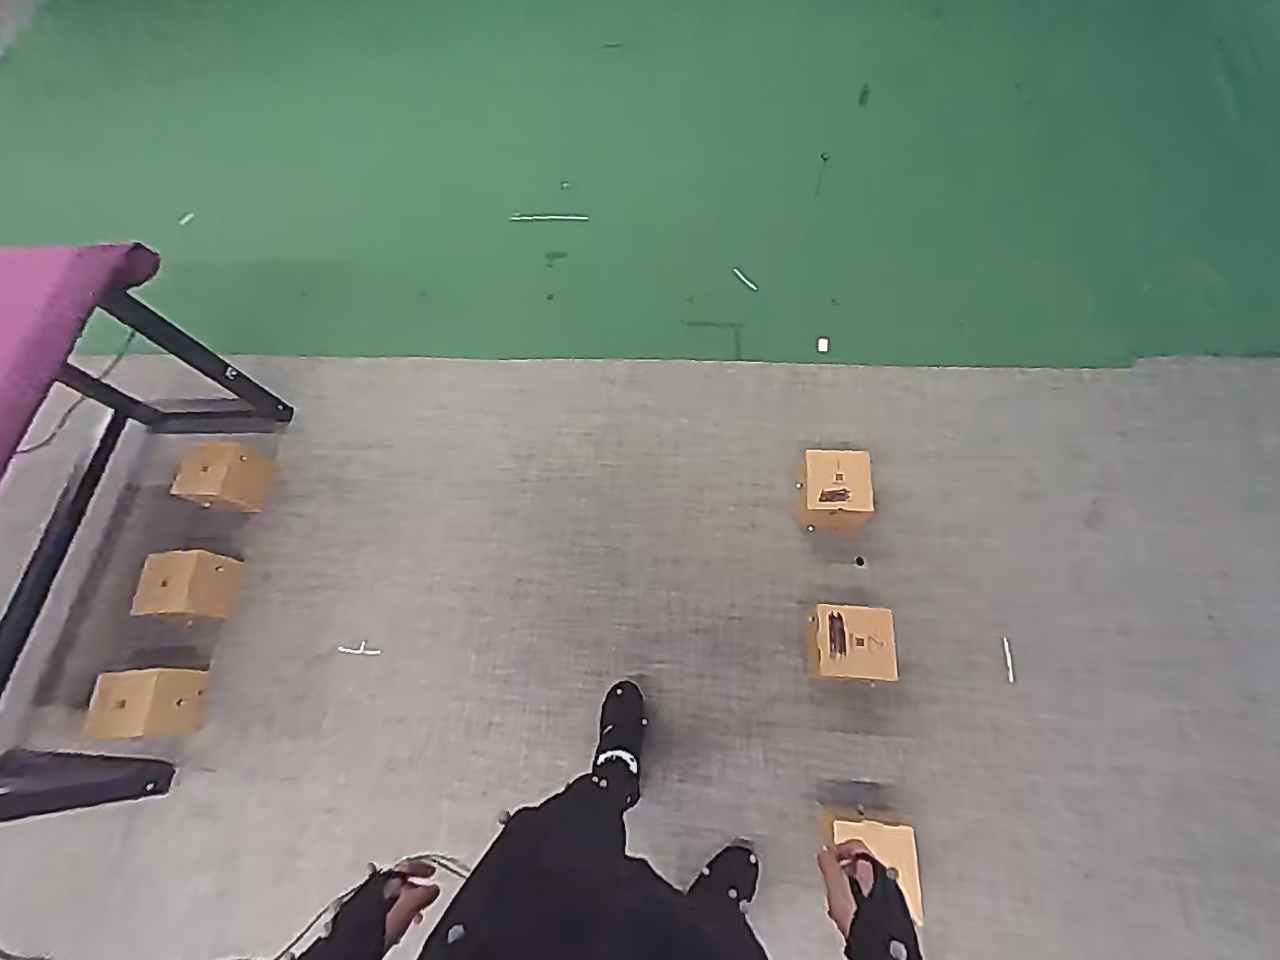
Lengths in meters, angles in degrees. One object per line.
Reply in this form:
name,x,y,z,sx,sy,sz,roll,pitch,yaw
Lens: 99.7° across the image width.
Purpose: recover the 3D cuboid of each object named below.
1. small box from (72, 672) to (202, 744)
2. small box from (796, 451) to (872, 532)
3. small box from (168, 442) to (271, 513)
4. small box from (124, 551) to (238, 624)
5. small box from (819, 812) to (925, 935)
small box,-1.334,0.608,1.450,0.179,0.176,0.168,-6,67,4
small box,0.528,0.038,1.487,0.168,0.176,0.179,3,67,7
small box,-1.312,-0.004,1.703,0.168,0.176,0.179,2,67,7
small box,-1.320,0.315,1.571,0.168,0.176,0.179,-5,68,5
small box,0.487,0.831,1.162,0.168,0.176,0.179,2,67,7
